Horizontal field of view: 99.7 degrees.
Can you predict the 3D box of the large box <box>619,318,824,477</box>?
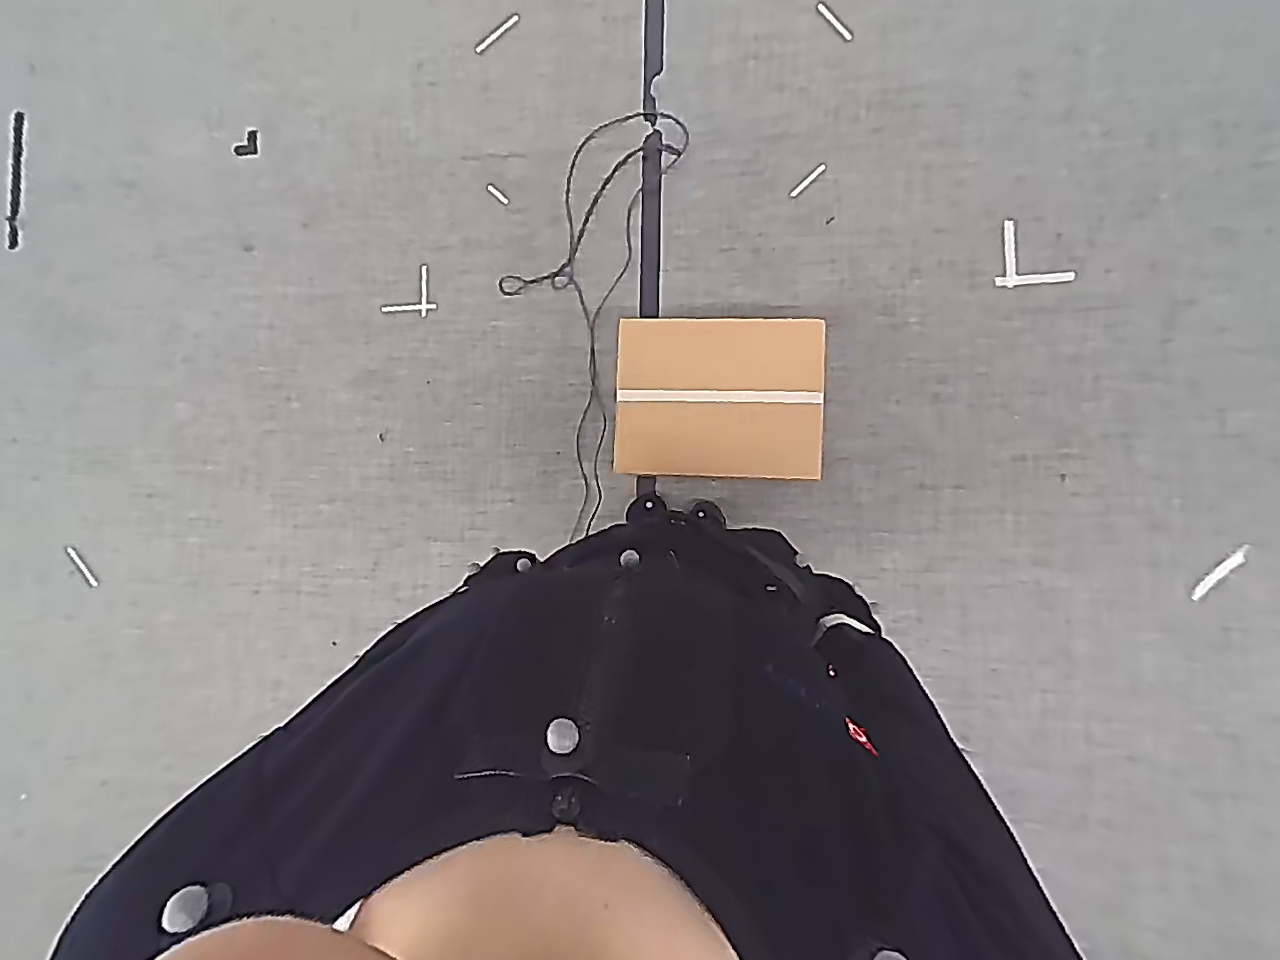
[{"bbox_3d":[0.172,-0.165,1.220,0.408,0.320,0.320,2,91,6],"label":"large box"}]
